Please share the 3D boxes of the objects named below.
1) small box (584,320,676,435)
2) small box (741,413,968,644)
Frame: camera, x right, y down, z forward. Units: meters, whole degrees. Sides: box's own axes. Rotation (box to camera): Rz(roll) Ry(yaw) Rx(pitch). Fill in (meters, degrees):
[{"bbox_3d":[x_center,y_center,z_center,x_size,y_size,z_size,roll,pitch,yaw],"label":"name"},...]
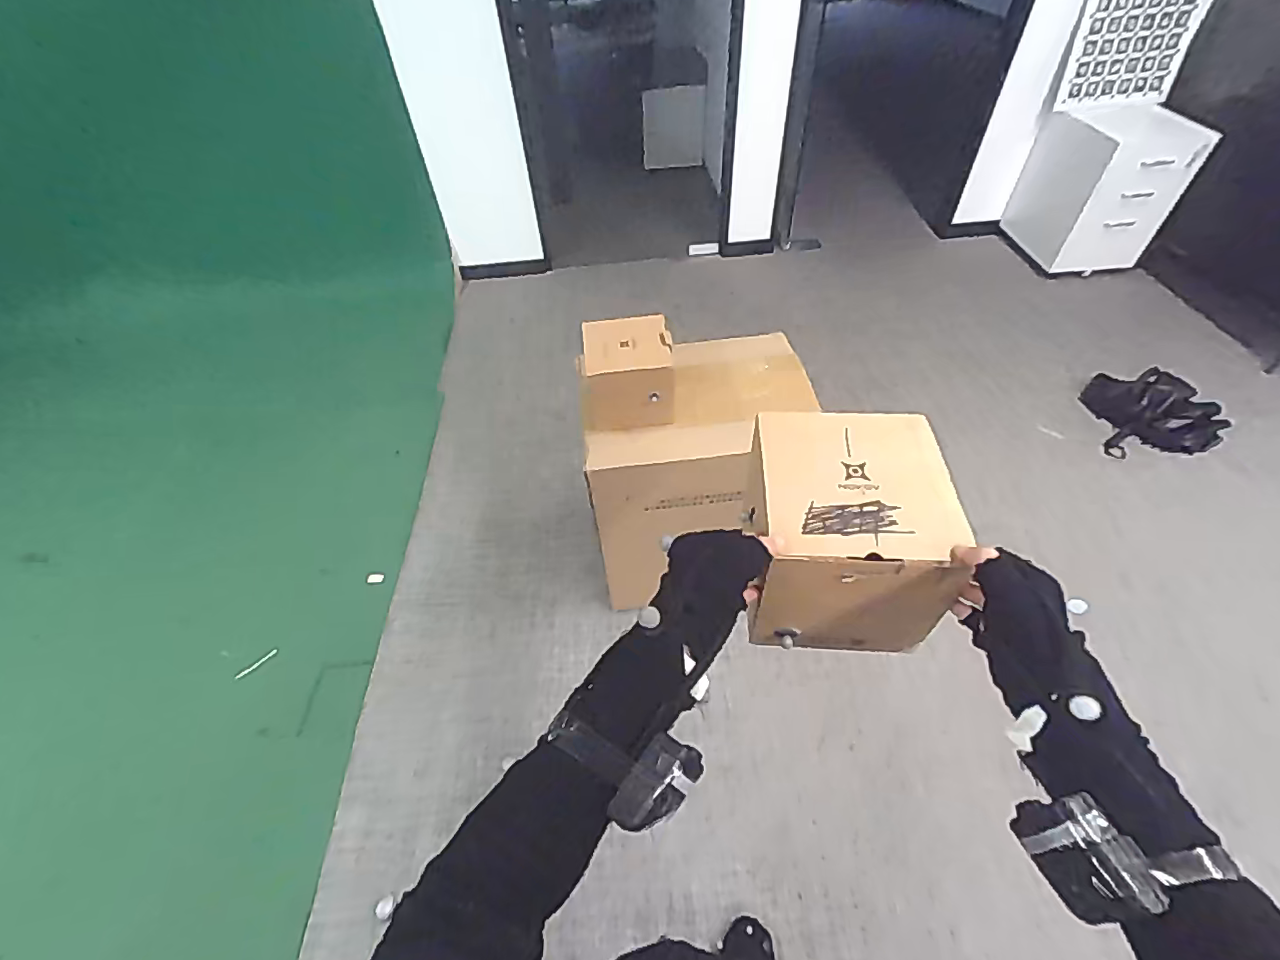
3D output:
[{"bbox_3d":[-0.019,-0.218,1.164,0.179,0.176,0.168,-8,53,-1],"label":"small box"},{"bbox_3d":[0.195,0.051,0.552,0.168,0.176,0.179,2,48,6],"label":"small box"}]
